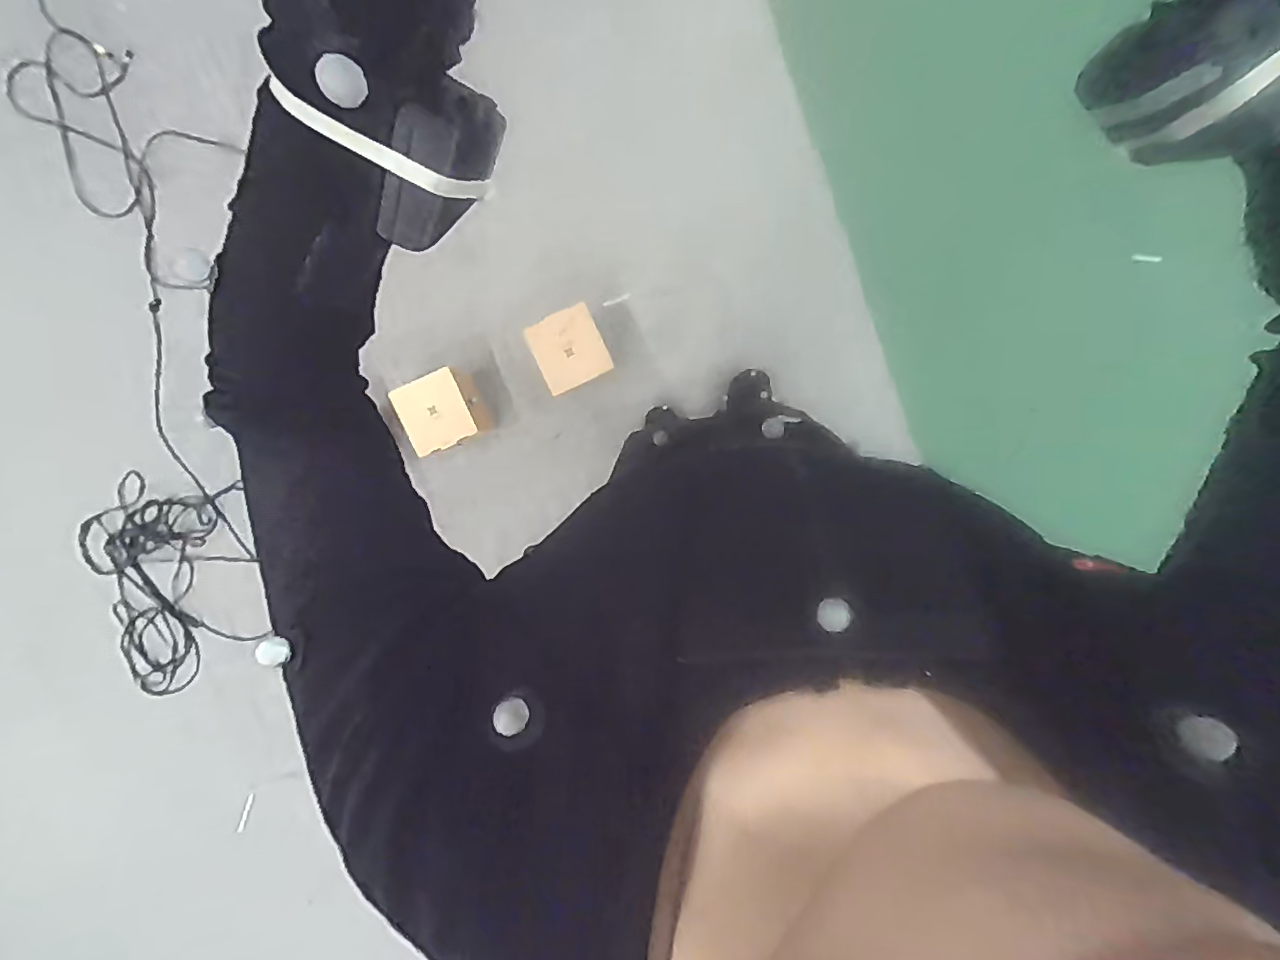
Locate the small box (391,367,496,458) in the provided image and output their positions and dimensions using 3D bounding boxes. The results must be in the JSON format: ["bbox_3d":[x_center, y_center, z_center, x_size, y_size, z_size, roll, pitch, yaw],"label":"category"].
[{"bbox_3d":[-0.495,-0.171,1.386,0.168,0.176,0.179,-23,97,4],"label":"small box"}]

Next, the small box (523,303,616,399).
[{"bbox_3d":[-0.167,-0.317,1.359,0.168,0.176,0.179,-25,96,3],"label":"small box"}]
